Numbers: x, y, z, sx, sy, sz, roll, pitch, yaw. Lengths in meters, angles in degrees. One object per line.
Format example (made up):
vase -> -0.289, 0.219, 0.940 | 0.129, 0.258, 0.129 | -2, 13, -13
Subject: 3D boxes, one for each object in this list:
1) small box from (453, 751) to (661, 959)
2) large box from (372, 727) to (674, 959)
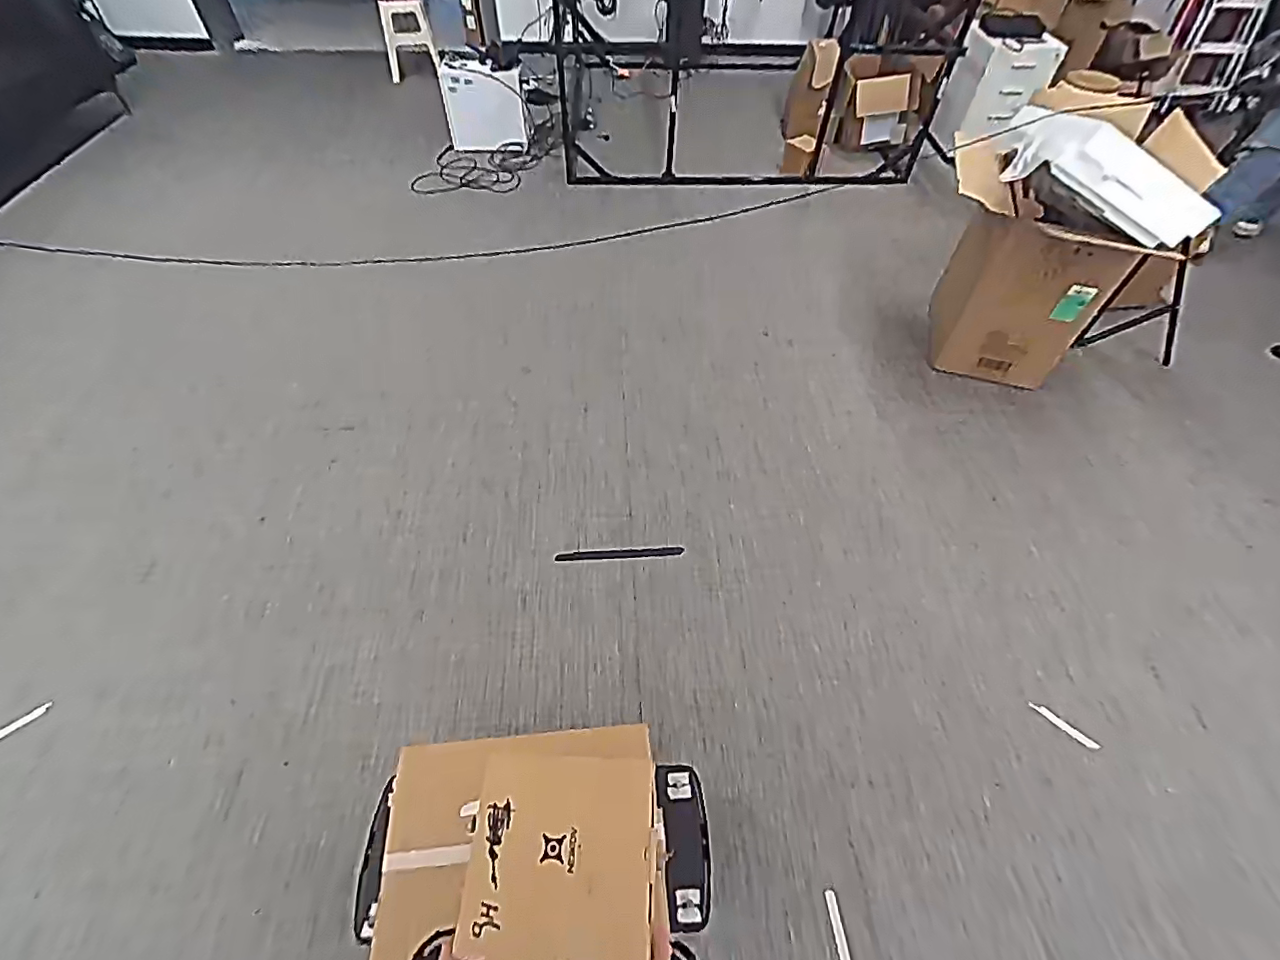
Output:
small box -> -0.073, 0.399, 0.570 | 0.179, 0.176, 0.168 | 3, 51, 0
large box -> -0.167, 0.633, 0.904 | 0.408, 0.320, 0.320 | -4, 52, -4
